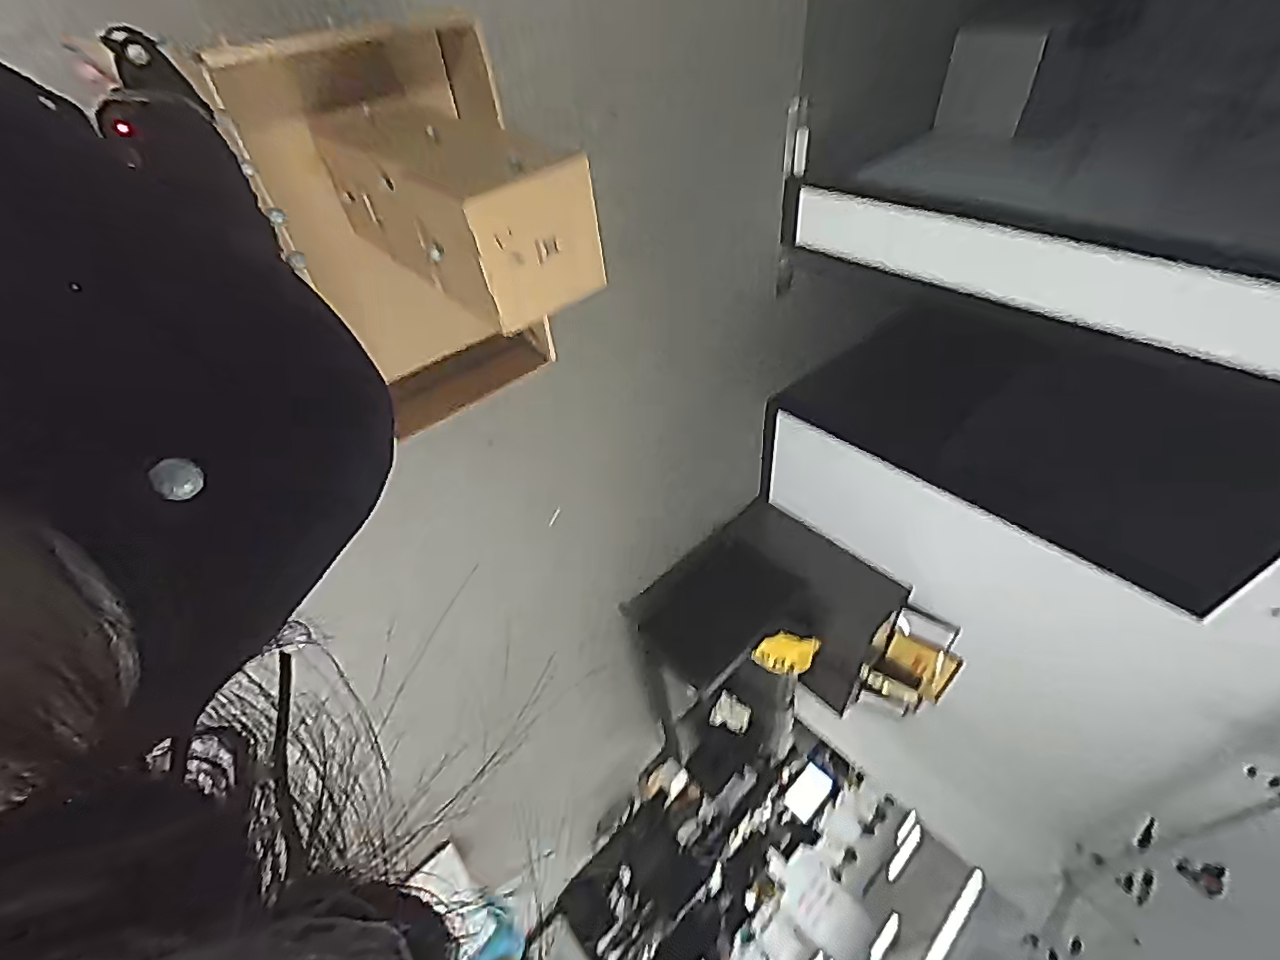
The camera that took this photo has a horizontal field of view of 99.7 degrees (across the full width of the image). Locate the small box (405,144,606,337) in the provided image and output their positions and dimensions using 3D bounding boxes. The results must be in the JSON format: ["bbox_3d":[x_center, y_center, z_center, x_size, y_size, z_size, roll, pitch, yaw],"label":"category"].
[{"bbox_3d":[-0.171,-0.322,0.713,0.179,0.176,0.168,-36,142,-25],"label":"small box"}]

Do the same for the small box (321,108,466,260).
[{"bbox_3d":[-0.392,-0.490,0.889,0.179,0.176,0.168,-34,143,-25],"label":"small box"}]
